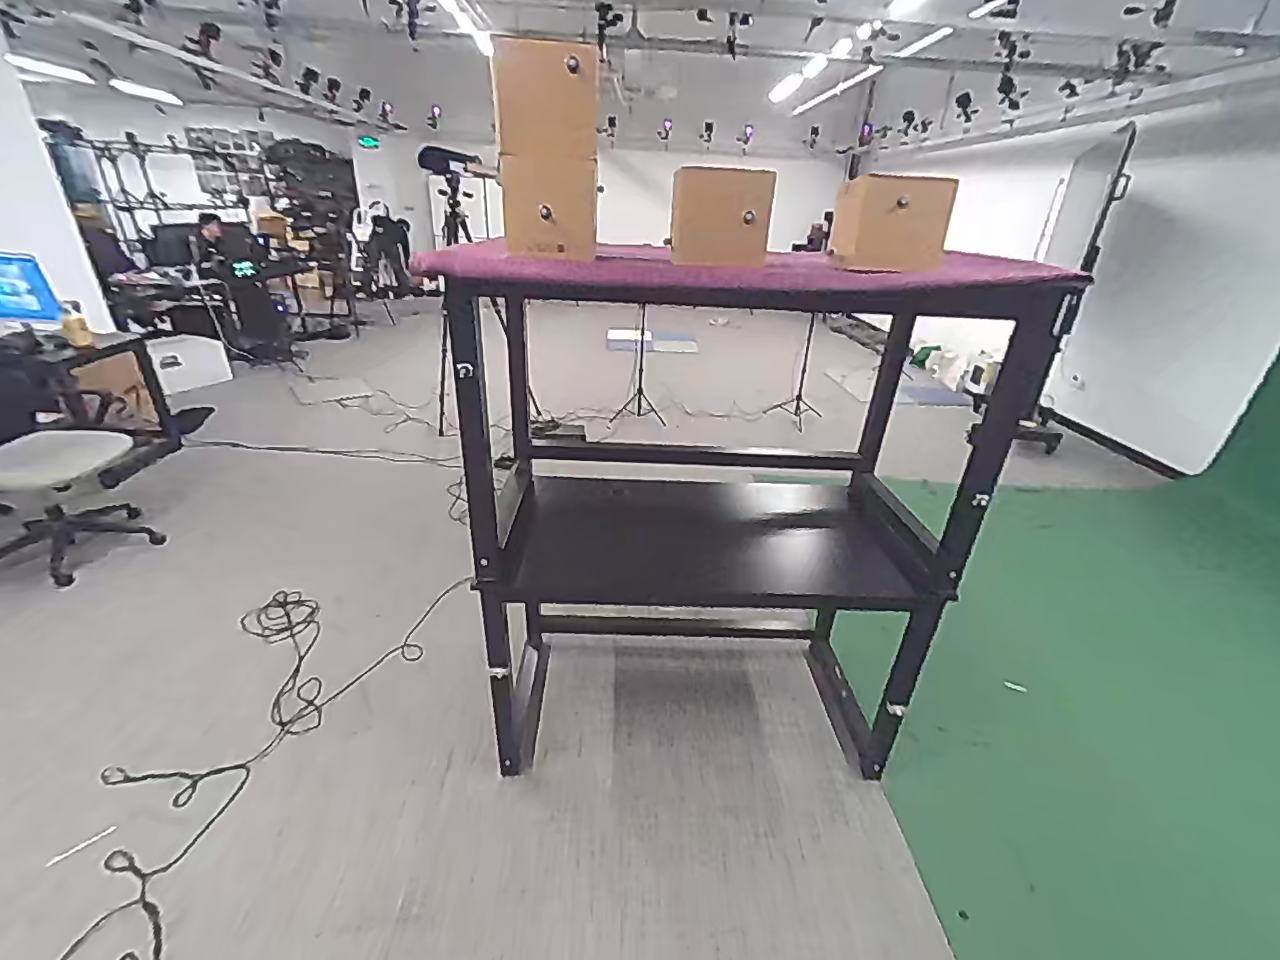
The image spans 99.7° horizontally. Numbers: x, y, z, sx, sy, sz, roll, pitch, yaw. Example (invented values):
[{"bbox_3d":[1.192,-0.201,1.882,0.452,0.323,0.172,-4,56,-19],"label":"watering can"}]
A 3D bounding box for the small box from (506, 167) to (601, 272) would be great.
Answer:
[{"bbox_3d":[-0.162,-0.508,1.063,0.168,0.176,0.179,3,26,-4],"label":"small box"}]

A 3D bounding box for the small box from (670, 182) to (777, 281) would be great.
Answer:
[{"bbox_3d":[0.158,-0.496,1.086,0.179,0.176,0.168,1,25,-3],"label":"small box"}]

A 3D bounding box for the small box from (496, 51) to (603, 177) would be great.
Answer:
[{"bbox_3d":[-0.158,-0.654,0.990,0.179,0.176,0.168,2,26,-6],"label":"small box"}]

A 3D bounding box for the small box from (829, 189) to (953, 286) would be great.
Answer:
[{"bbox_3d":[0.505,-0.496,1.121,0.179,0.176,0.168,3,23,-1],"label":"small box"}]
